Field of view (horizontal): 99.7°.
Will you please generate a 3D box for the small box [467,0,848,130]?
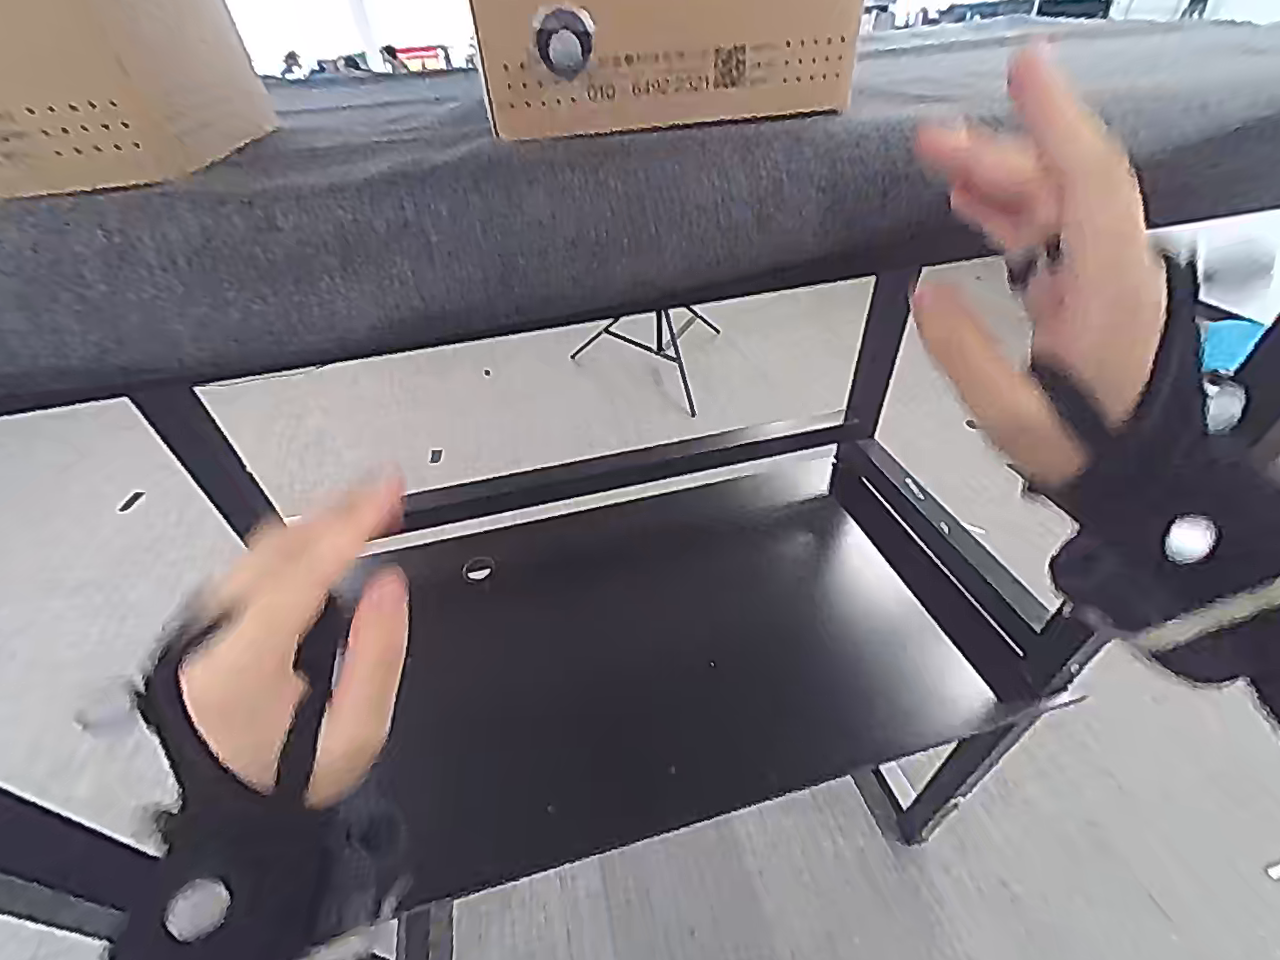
[{"bbox_3d":[-0.007,-0.274,0.254,0.168,0.176,0.179,-11,39,-9],"label":"small box"}]
